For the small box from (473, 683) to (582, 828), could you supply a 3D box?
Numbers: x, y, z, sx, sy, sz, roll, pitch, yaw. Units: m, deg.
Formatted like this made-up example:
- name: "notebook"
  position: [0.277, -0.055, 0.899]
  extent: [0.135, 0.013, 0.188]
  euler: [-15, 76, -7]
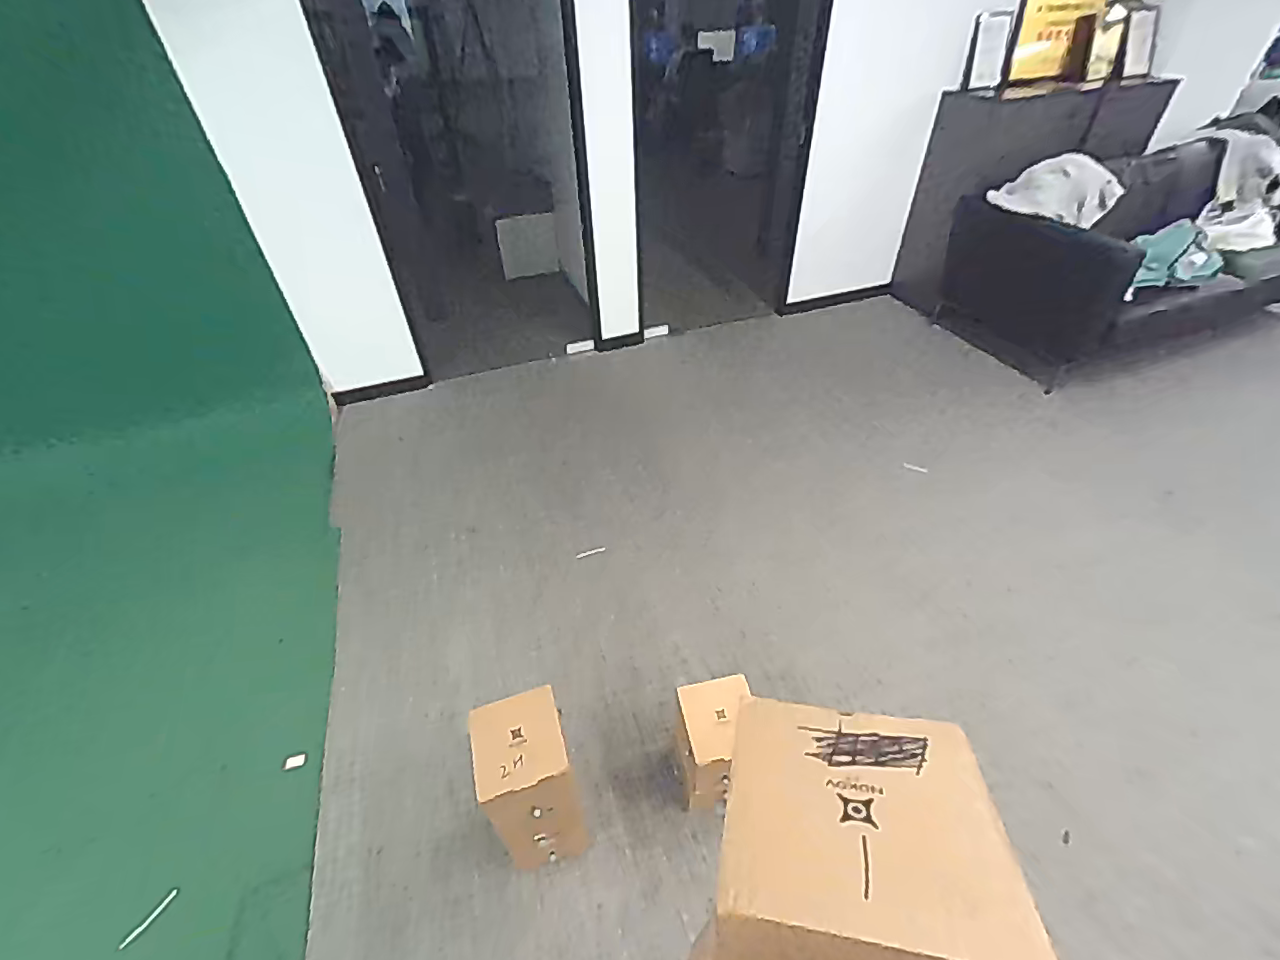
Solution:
- name: "small box"
  position: [-0.218, 0.537, 1.055]
  extent: [0.168, 0.176, 0.179]
  euler: [-15, 43, -11]

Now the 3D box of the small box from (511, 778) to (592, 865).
- name: "small box"
  position: [-0.213, 0.780, 1.276]
  extent: [0.168, 0.176, 0.179]
  euler: [-12, 43, -10]

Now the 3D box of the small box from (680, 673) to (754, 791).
- name: "small box"
  position: [0.190, 0.577, 1.238]
  extent: [0.168, 0.176, 0.179]
  euler: [-9, 43, -7]

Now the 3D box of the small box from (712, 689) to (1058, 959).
- name: "small box"
  position: [0.142, 0.277, 0.368]
  extent: [0.168, 0.176, 0.179]
  euler: [1, 18, 16]

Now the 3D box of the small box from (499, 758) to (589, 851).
- name: "small box"
  position: [-0.215, 0.659, 1.167]
  extent: [0.168, 0.176, 0.179]
  euler: [-15, 44, -12]
